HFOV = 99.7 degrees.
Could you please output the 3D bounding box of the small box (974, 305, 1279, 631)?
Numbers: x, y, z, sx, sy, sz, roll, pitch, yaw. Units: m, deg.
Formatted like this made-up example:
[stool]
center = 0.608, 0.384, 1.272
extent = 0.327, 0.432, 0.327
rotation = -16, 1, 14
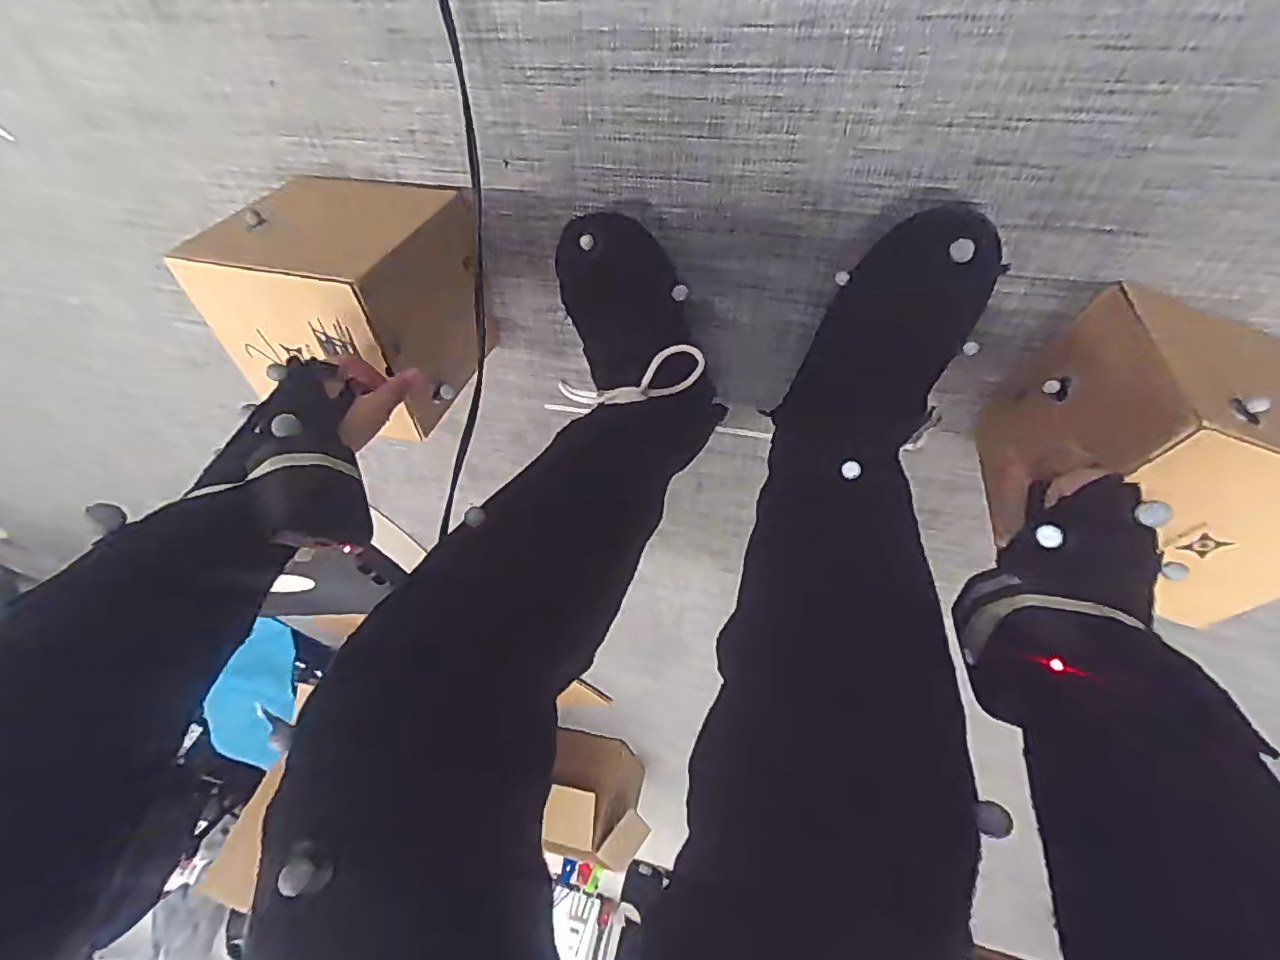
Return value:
[small box]
center = 0.405, -0.010, 0.429
extent = 0.179, 0.176, 0.168
rotation = 19, 142, 0
